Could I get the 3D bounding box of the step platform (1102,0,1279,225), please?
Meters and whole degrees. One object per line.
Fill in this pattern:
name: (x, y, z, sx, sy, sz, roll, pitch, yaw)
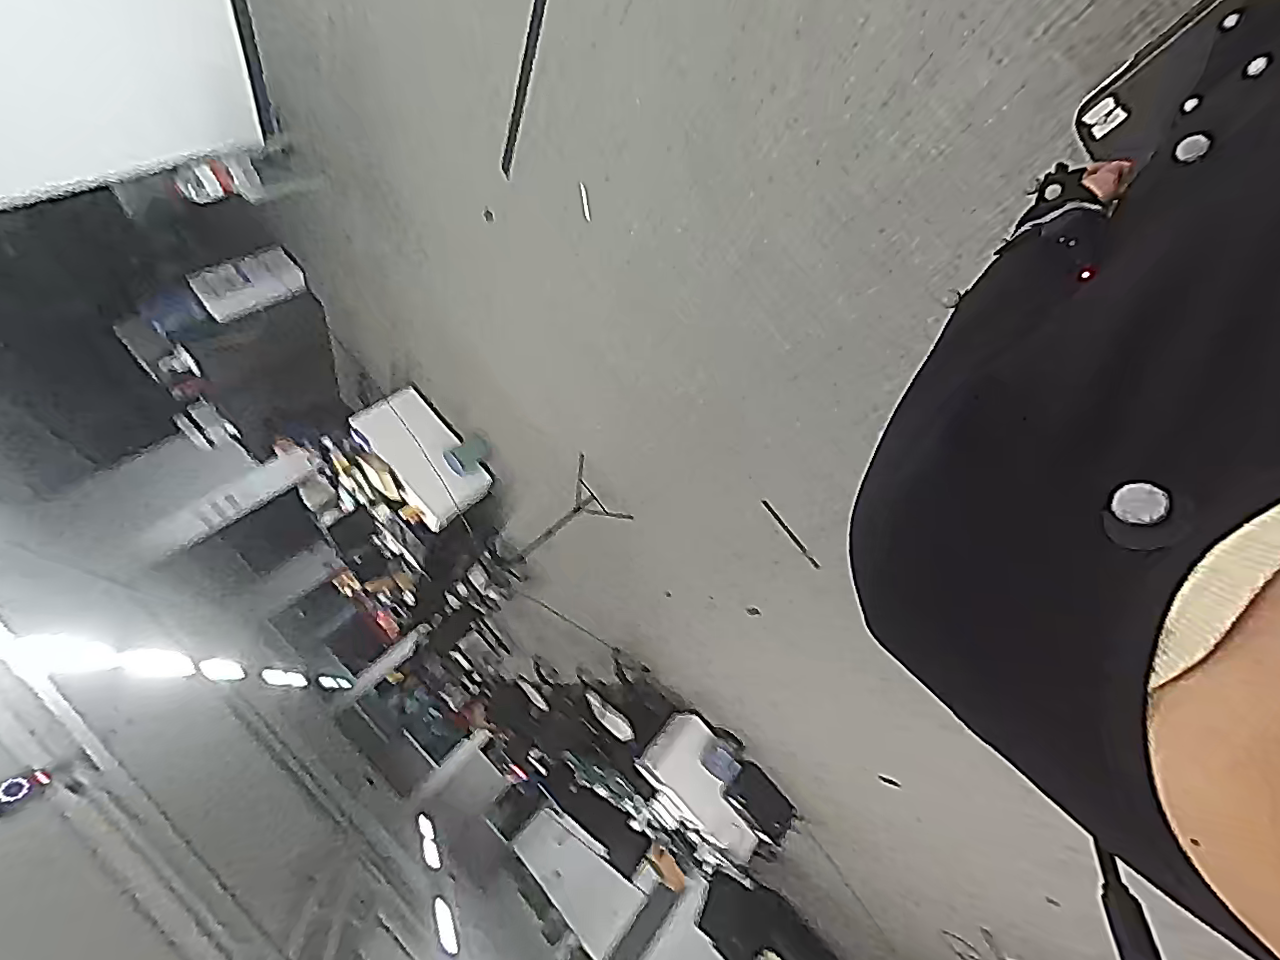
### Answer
step platform: (1.067, -0.677, 0.718, 0.286, 0.204, 0.684, 52, 148, -3)
